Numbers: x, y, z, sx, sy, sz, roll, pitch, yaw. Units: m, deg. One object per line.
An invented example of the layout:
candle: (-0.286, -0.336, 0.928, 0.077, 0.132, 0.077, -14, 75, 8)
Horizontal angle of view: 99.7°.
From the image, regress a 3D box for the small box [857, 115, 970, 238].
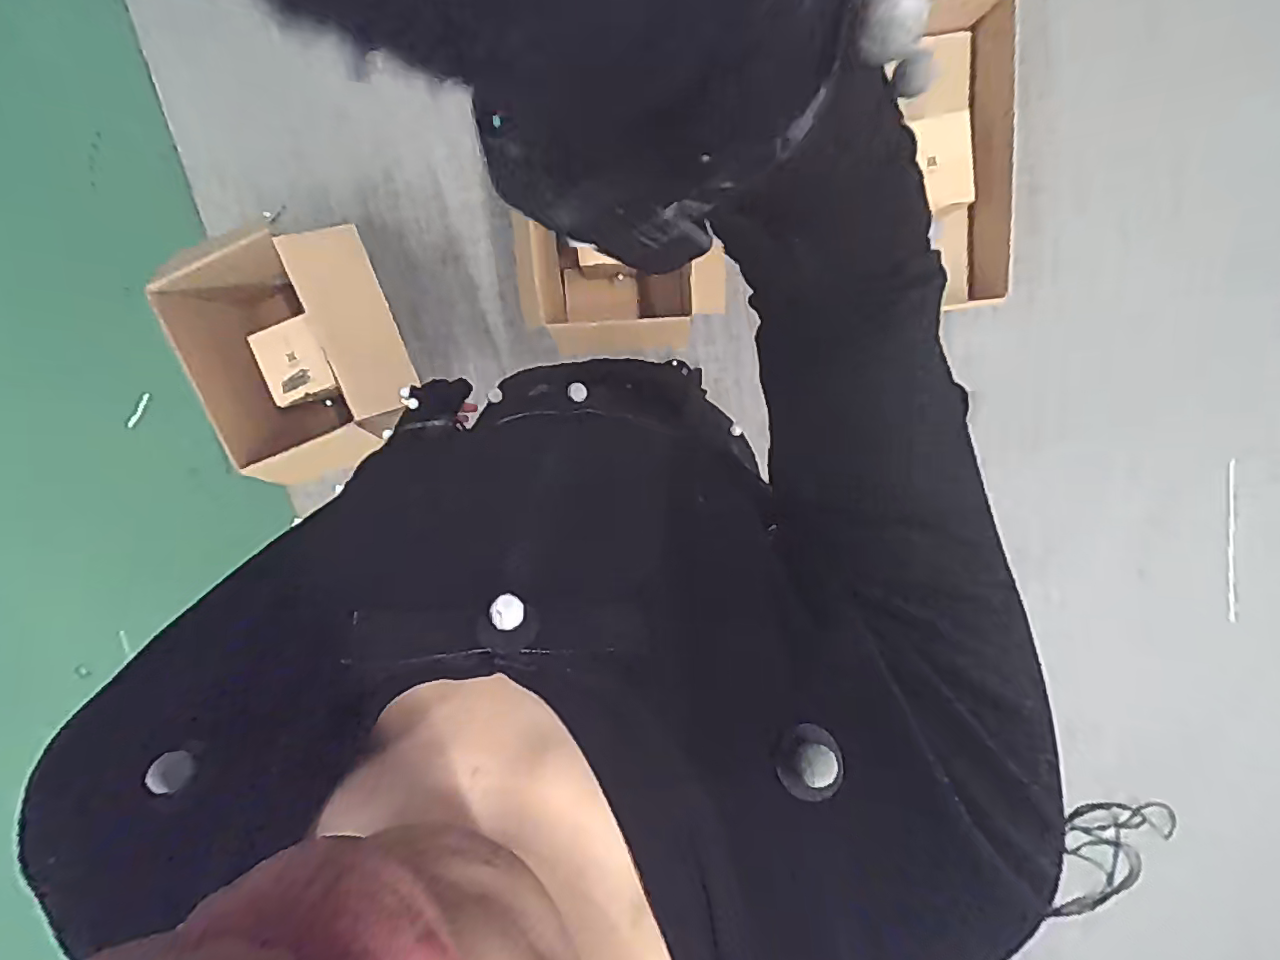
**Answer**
small box: (0.594, -0.659, 1.193, 0.168, 0.176, 0.179, -11, 101, 3)
